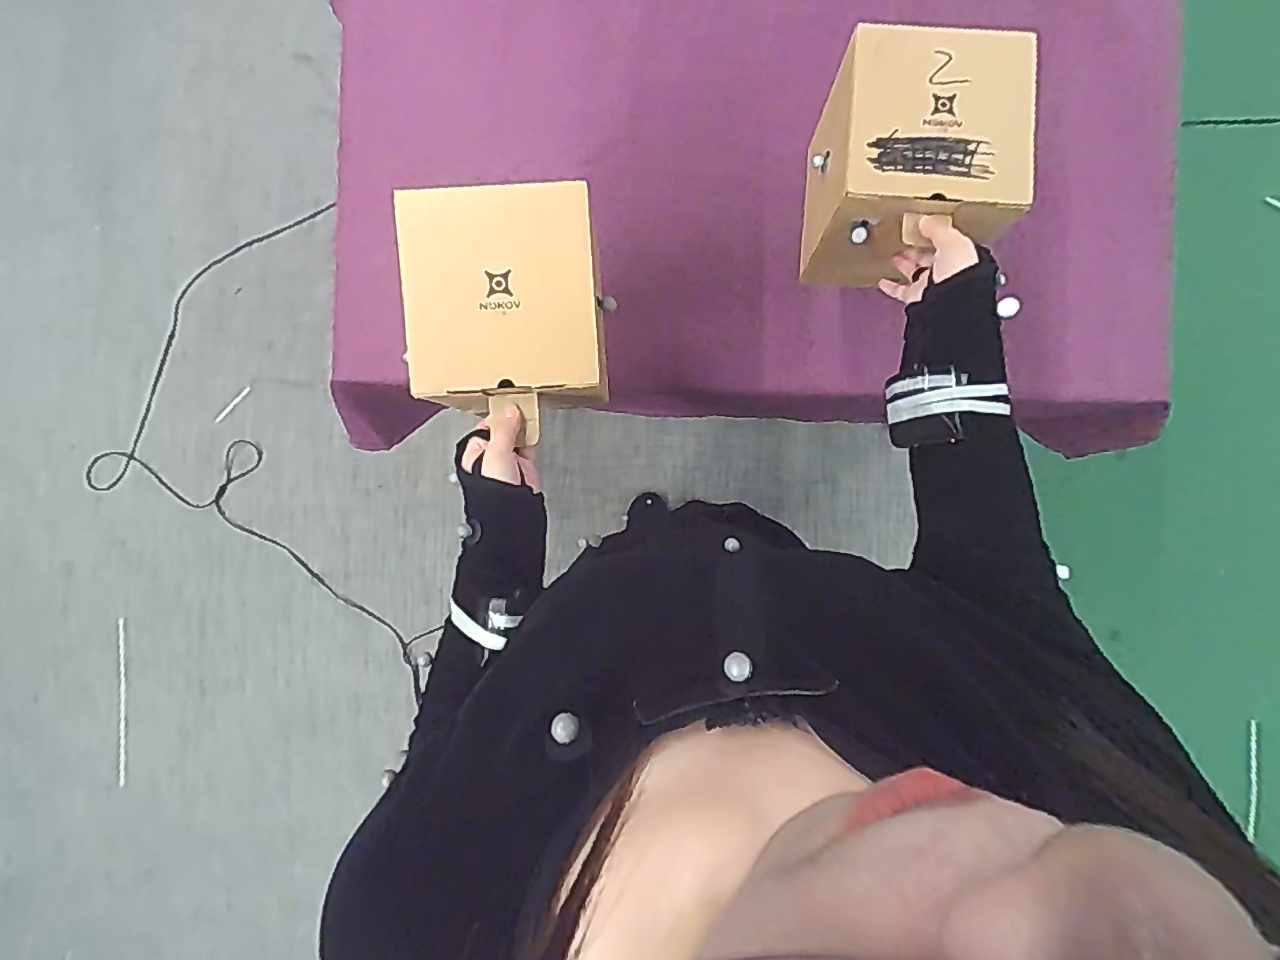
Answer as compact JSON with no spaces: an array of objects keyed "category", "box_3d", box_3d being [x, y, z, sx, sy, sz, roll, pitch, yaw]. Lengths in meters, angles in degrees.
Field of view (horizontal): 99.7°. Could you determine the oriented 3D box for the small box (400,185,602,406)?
[{"category":"small box","box_3d":[-0.128,-0.174,0.558,0.168,0.176,0.179,-4,94,-1]}]
